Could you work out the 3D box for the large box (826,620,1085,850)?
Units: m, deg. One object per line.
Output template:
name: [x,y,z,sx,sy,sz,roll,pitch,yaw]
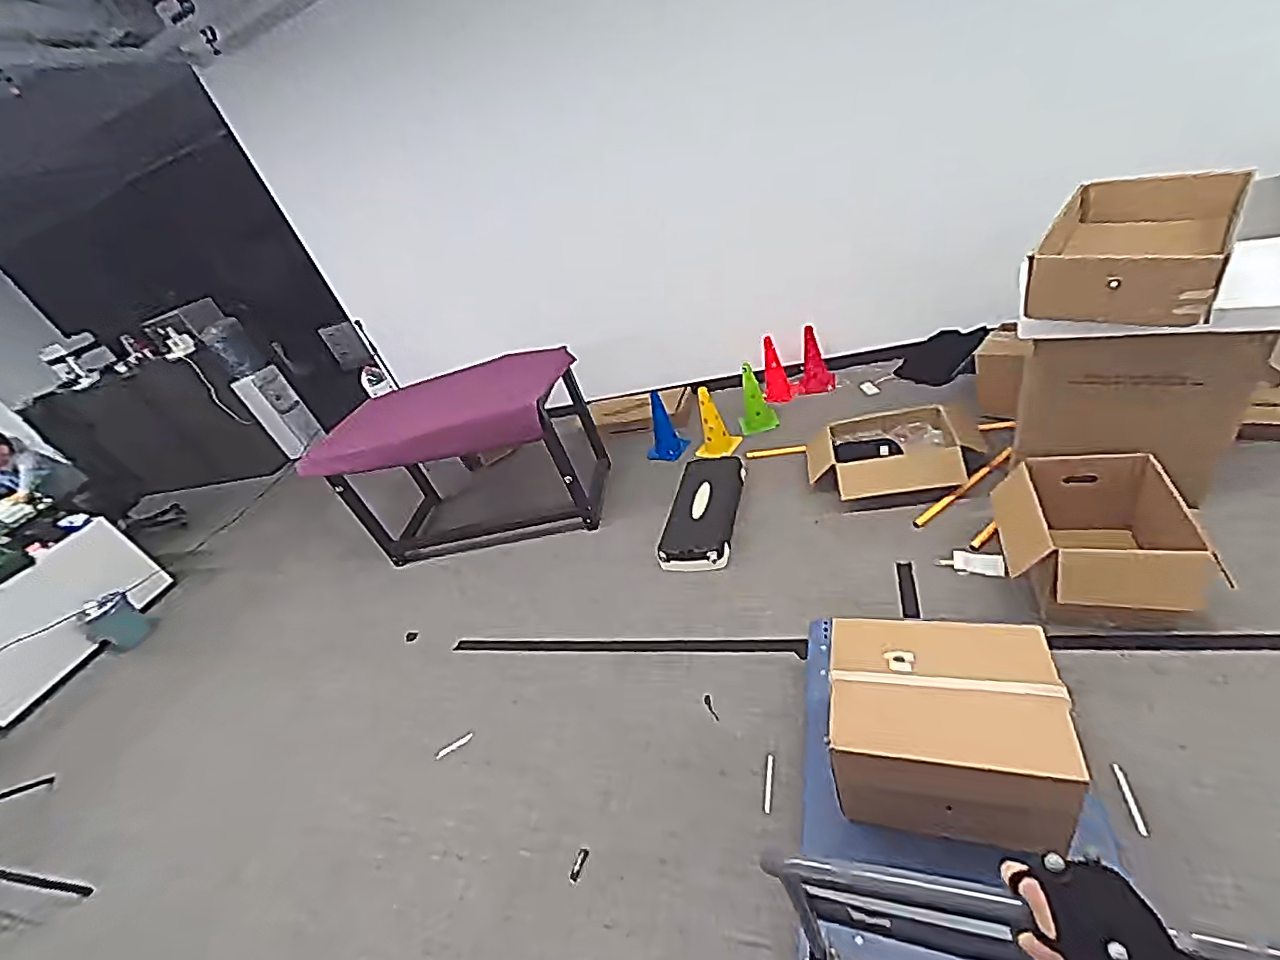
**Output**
large box: [0.622,0.515,1.134,0.408,0.320,0.320,-5,35,25]
